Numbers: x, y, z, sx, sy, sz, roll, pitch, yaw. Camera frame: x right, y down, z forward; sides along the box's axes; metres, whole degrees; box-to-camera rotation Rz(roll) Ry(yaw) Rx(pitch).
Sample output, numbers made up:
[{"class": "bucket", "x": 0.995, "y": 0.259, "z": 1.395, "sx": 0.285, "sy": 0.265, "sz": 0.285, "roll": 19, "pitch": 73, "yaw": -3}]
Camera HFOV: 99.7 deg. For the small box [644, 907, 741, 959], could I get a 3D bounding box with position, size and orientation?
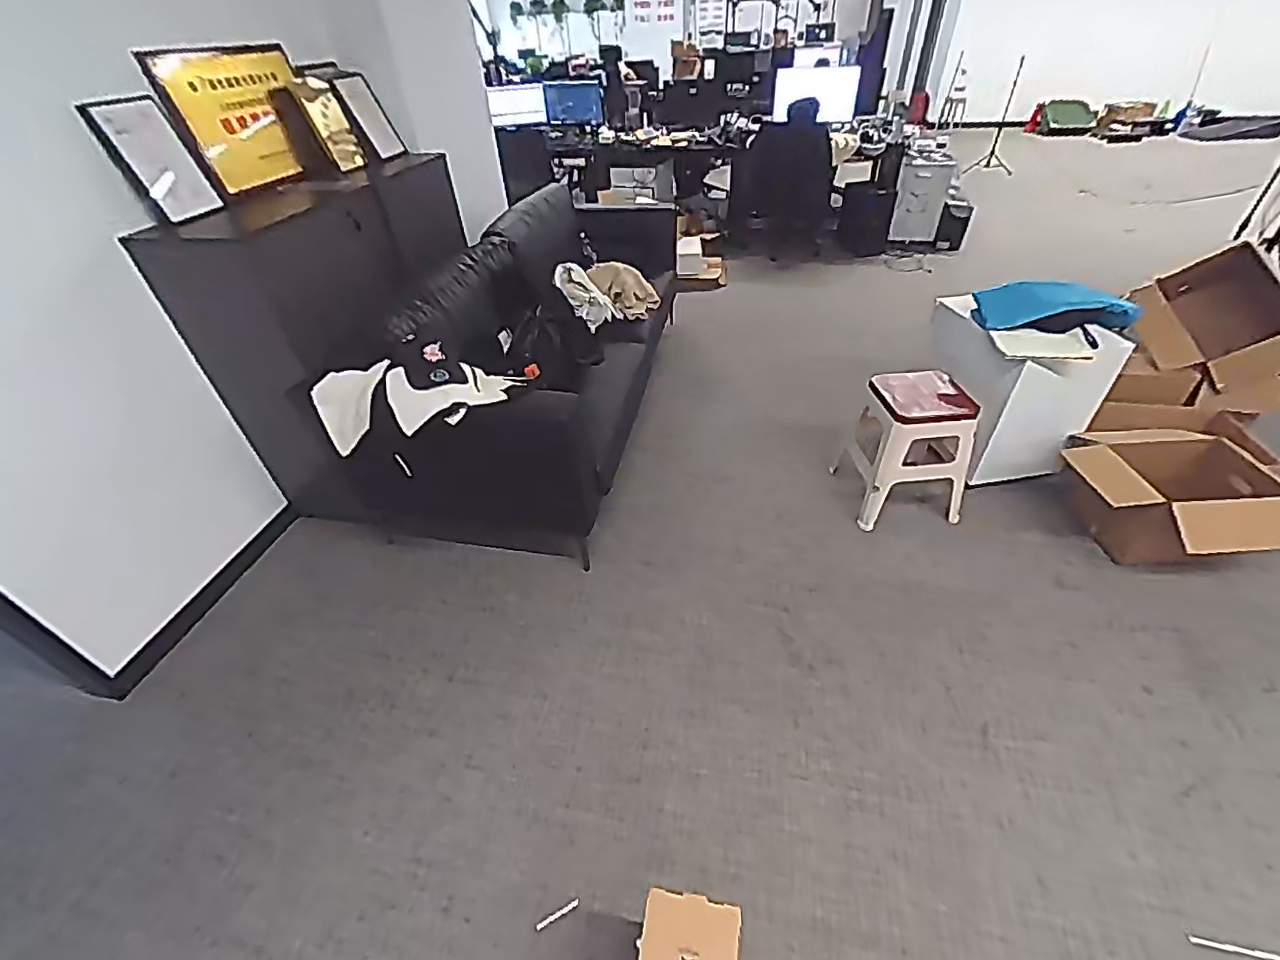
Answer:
[{"class": "small box", "x": 0.098, "y": 0.969, "z": 1.049, "sx": 0.179, "sy": 0.176, "sz": 0.168, "roll": 6, "pitch": 41, "yaw": 11}]
